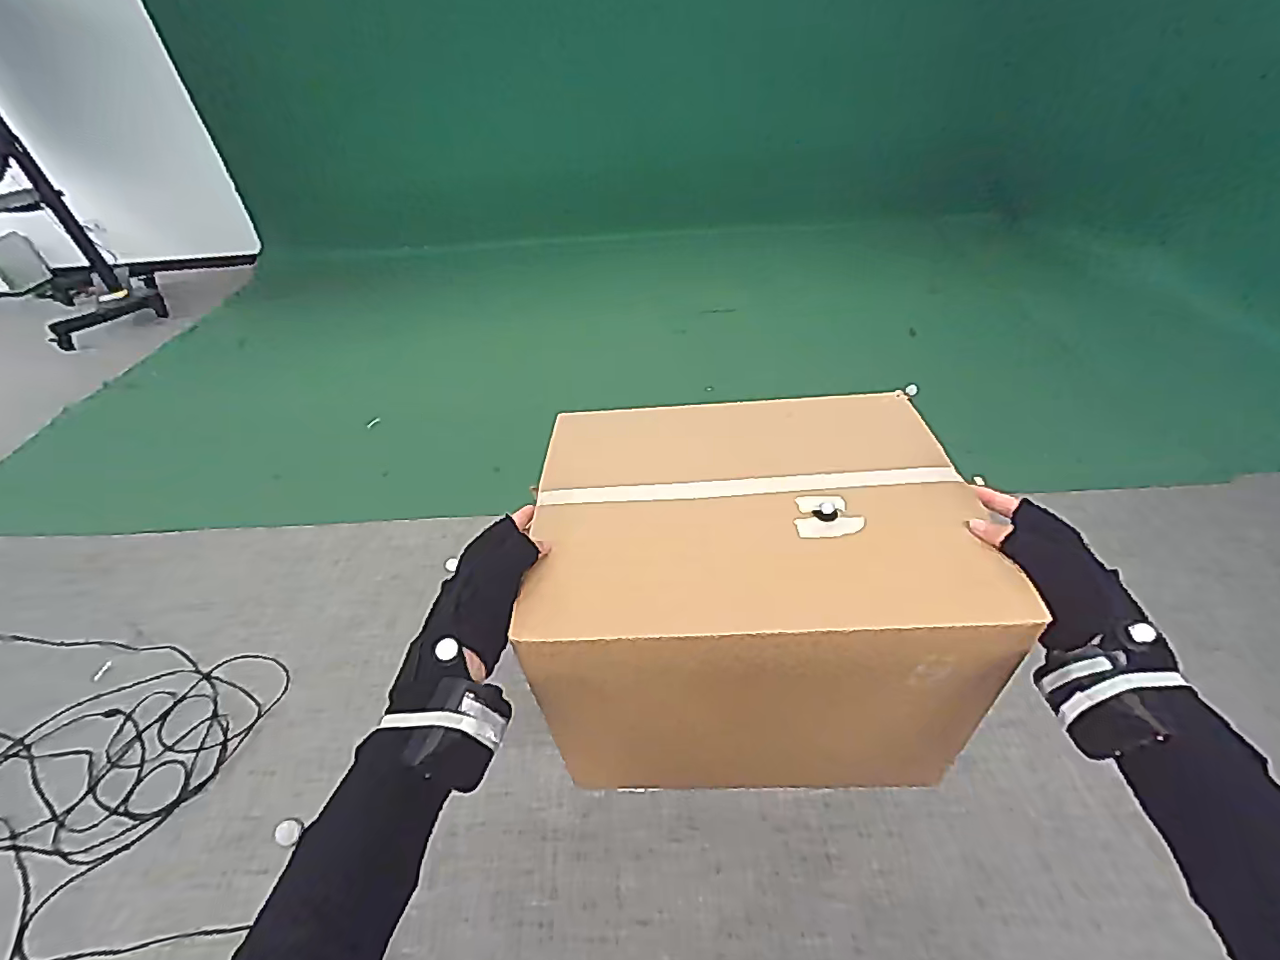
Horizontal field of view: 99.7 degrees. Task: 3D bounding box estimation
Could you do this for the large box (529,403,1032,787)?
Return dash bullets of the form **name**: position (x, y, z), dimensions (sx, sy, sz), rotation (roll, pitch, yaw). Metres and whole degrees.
- **large box**: position (0.116, 0.131, 0.630), dimensions (0.408, 0.320, 0.320), rotation (-3, 41, 3)
